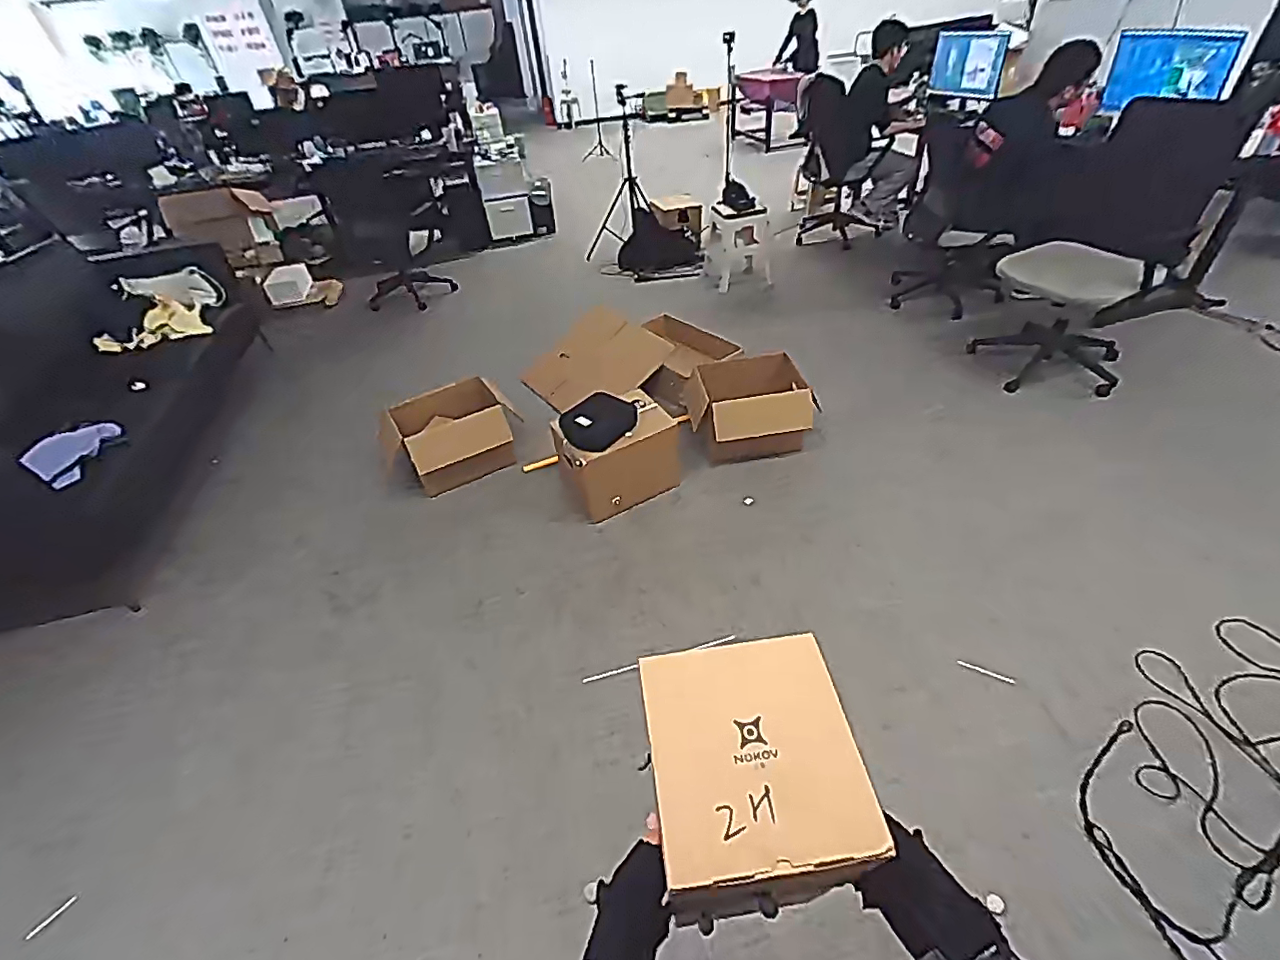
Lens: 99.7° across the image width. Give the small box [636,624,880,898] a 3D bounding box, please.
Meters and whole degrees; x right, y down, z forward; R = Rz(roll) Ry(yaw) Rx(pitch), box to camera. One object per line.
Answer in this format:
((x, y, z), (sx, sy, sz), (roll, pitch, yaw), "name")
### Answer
((0.087, 0.260, 0.502), (0.168, 0.176, 0.179), (-7, 47, -3), "small box")
